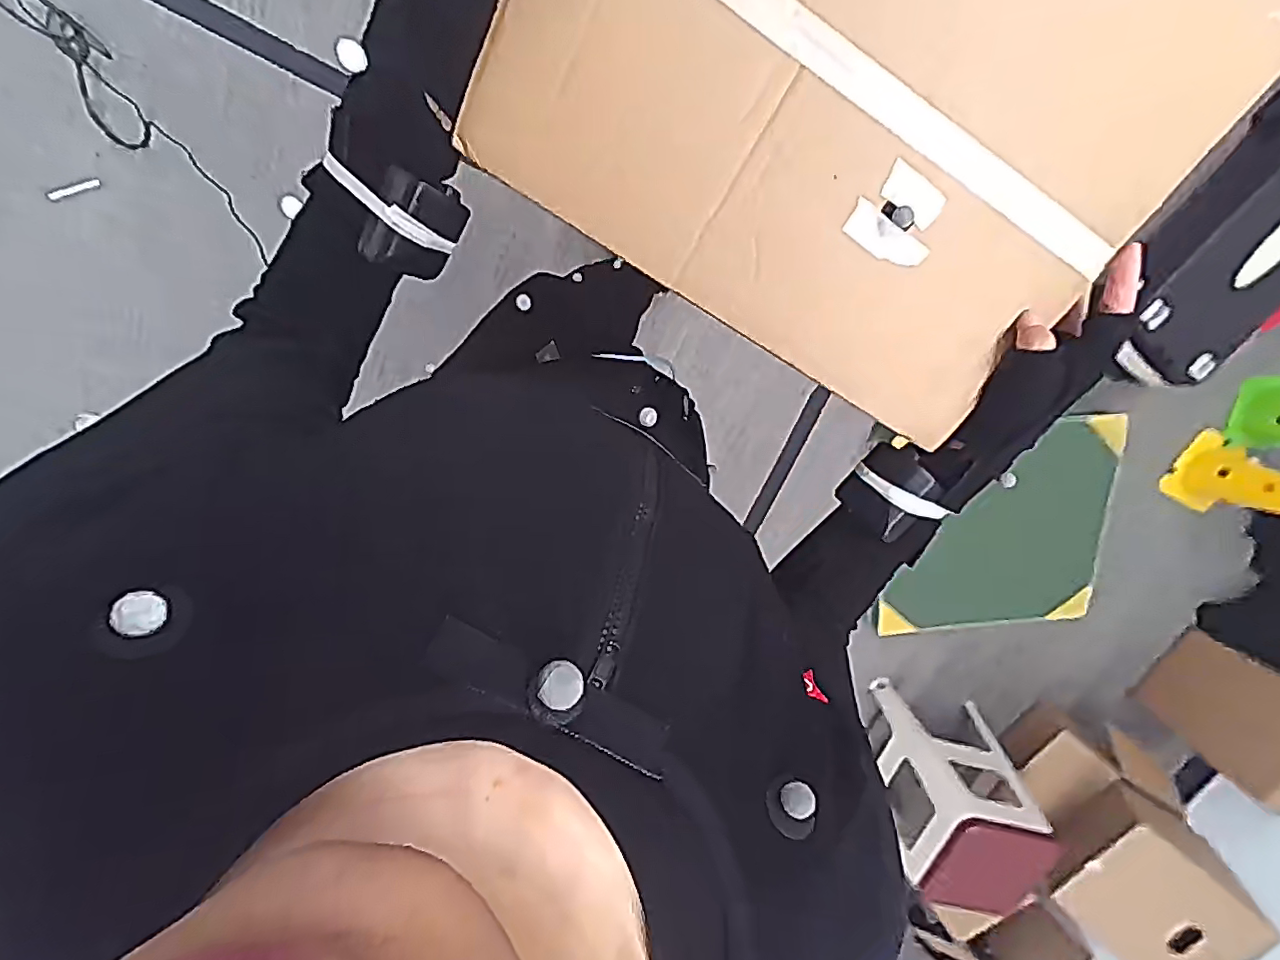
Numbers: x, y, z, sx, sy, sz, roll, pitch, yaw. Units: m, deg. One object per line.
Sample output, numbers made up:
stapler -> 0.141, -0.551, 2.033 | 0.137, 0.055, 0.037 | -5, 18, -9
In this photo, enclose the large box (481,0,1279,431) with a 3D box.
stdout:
large box -> 0.142, -0.309, 0.467 | 0.408, 0.320, 0.320 | 29, 115, -12
